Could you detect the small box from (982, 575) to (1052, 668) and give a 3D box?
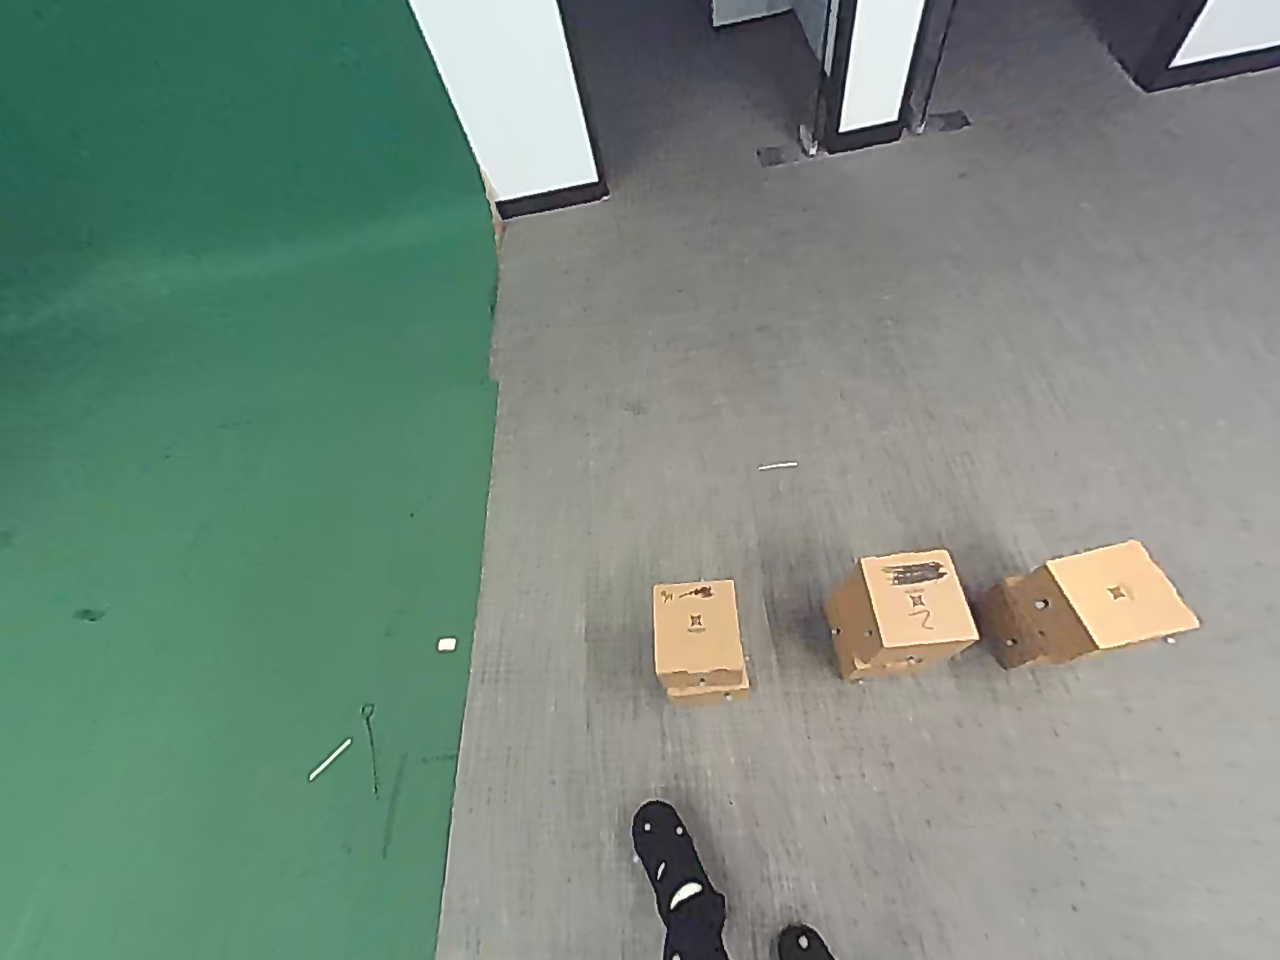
[{"bbox_3d":[0.879,0.304,1.175,0.179,0.176,0.168,-10,61,5],"label":"small box"}]

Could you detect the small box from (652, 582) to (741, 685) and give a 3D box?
[{"bbox_3d":[0.119,0.324,1.120,0.168,0.176,0.179,-5,61,8],"label":"small box"}]

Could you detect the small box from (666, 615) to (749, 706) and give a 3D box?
[{"bbox_3d":[0.150,0.419,1.252,0.179,0.176,0.168,-9,59,6],"label":"small box"}]

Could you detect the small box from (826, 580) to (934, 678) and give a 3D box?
[{"bbox_3d":[0.530,0.343,1.220,0.168,0.176,0.179,-8,59,6],"label":"small box"}]

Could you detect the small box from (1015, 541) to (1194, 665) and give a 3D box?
[{"bbox_3d":[0.856,0.239,1.027,0.179,0.176,0.168,-15,60,2],"label":"small box"}]
